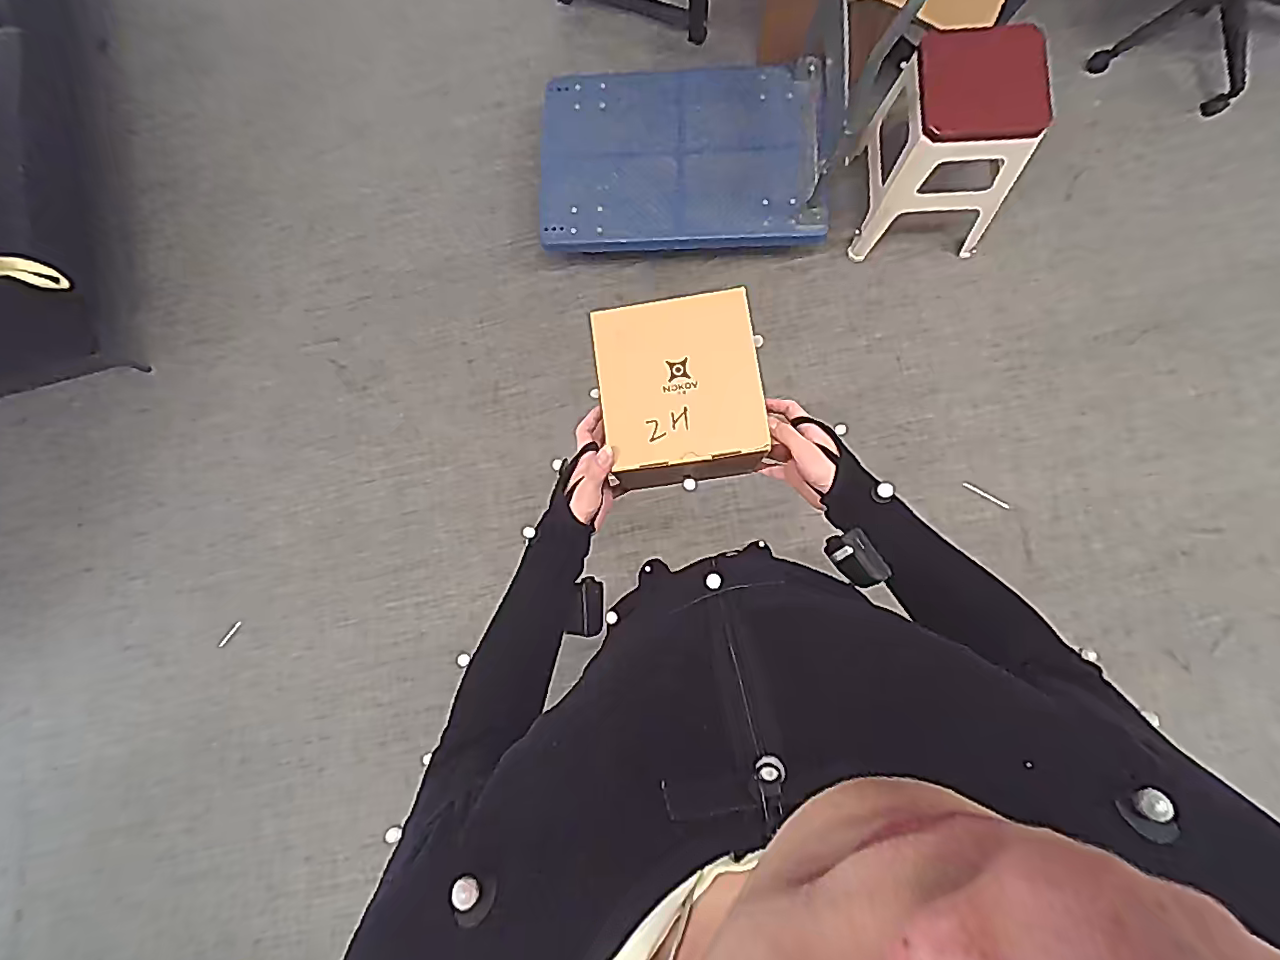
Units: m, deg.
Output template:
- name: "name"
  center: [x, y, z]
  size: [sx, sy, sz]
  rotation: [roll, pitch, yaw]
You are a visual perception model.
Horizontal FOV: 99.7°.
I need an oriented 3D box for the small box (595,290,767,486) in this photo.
- name: "small box"
  center: [0.046, -0.097, 0.641]
  size: [0.168, 0.176, 0.179]
  rotation: [-7, 82, 4]
